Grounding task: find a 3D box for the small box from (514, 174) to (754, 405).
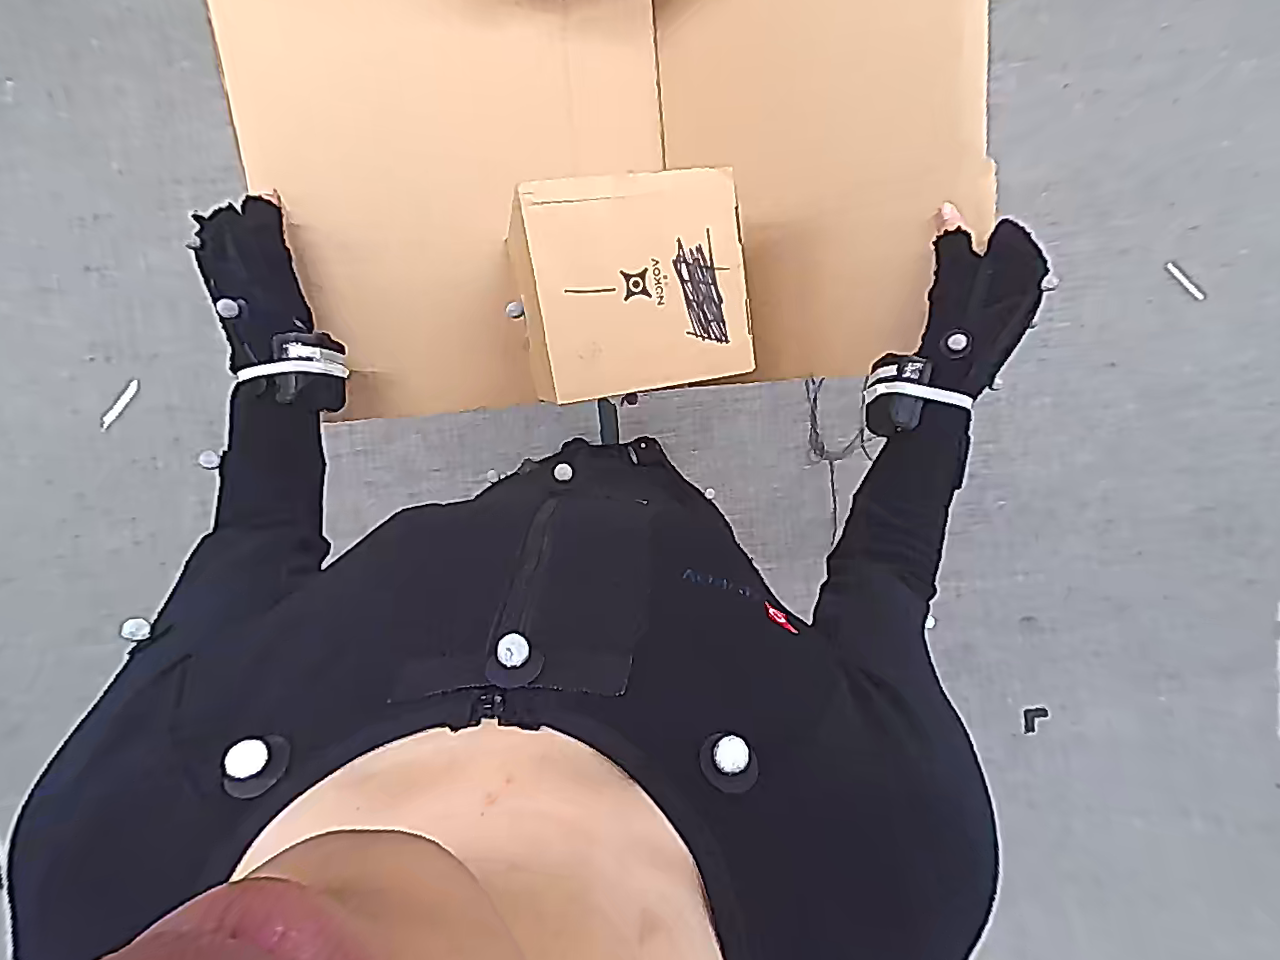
[{"bbox_3d":[-0.014,-0.169,0.511,0.179,0.176,0.168,-12,103,-13],"label":"small box"}]
